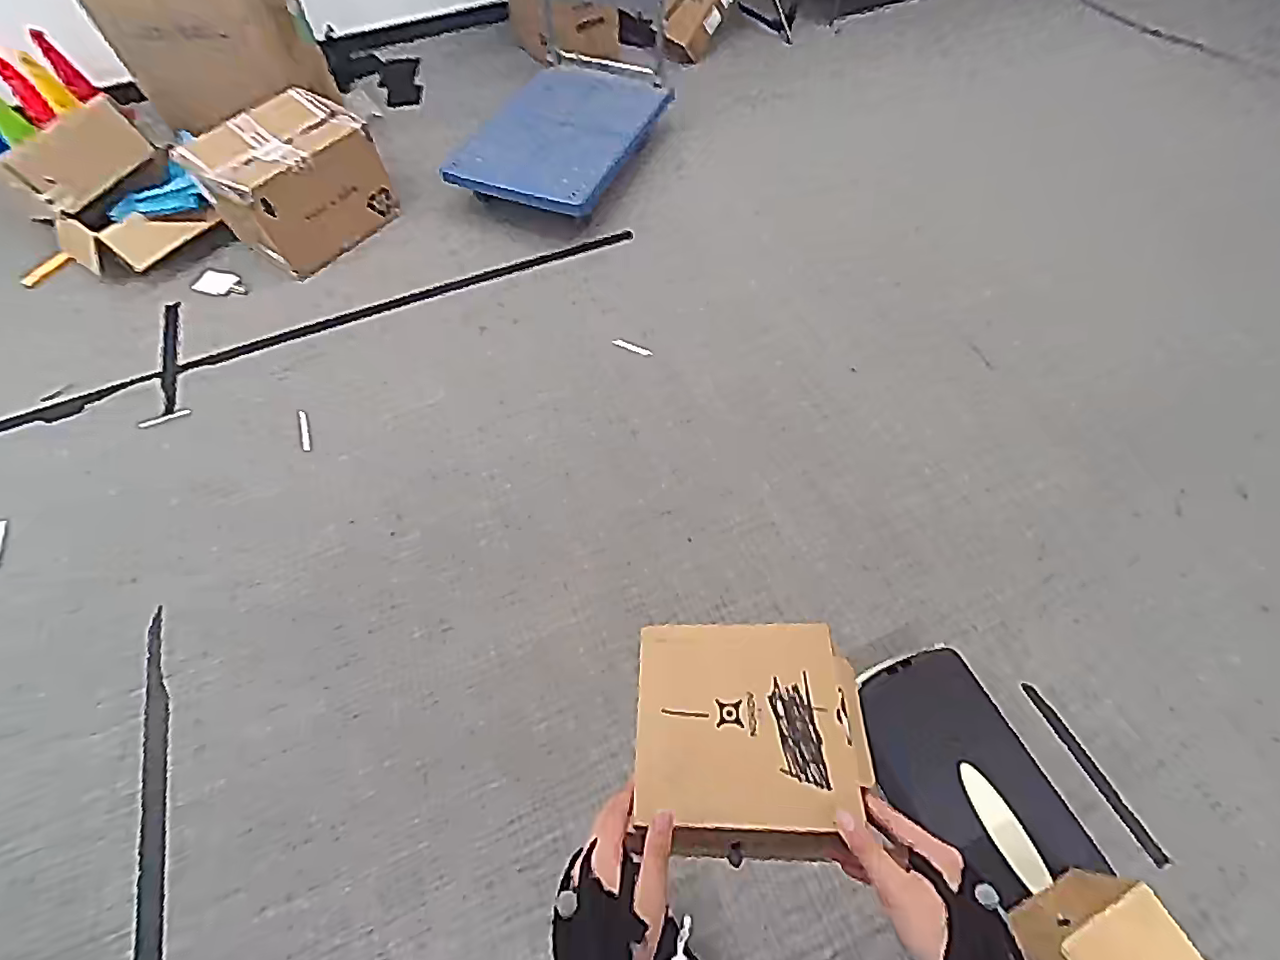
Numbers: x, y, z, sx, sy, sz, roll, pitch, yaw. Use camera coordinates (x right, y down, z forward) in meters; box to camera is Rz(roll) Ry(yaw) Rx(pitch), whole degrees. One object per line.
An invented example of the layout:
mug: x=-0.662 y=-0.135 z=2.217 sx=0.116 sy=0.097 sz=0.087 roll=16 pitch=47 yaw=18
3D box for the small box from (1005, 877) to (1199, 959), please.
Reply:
small box: x=0.725 y=0.753 z=0.836 sx=0.179 sy=0.176 sz=0.168 roll=-23 pitch=62 yaw=-11

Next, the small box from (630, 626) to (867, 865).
small box: x=0.090 y=0.250 z=0.508 sx=0.179 sy=0.176 sz=0.168 roll=-3 pitch=48 yaw=6
